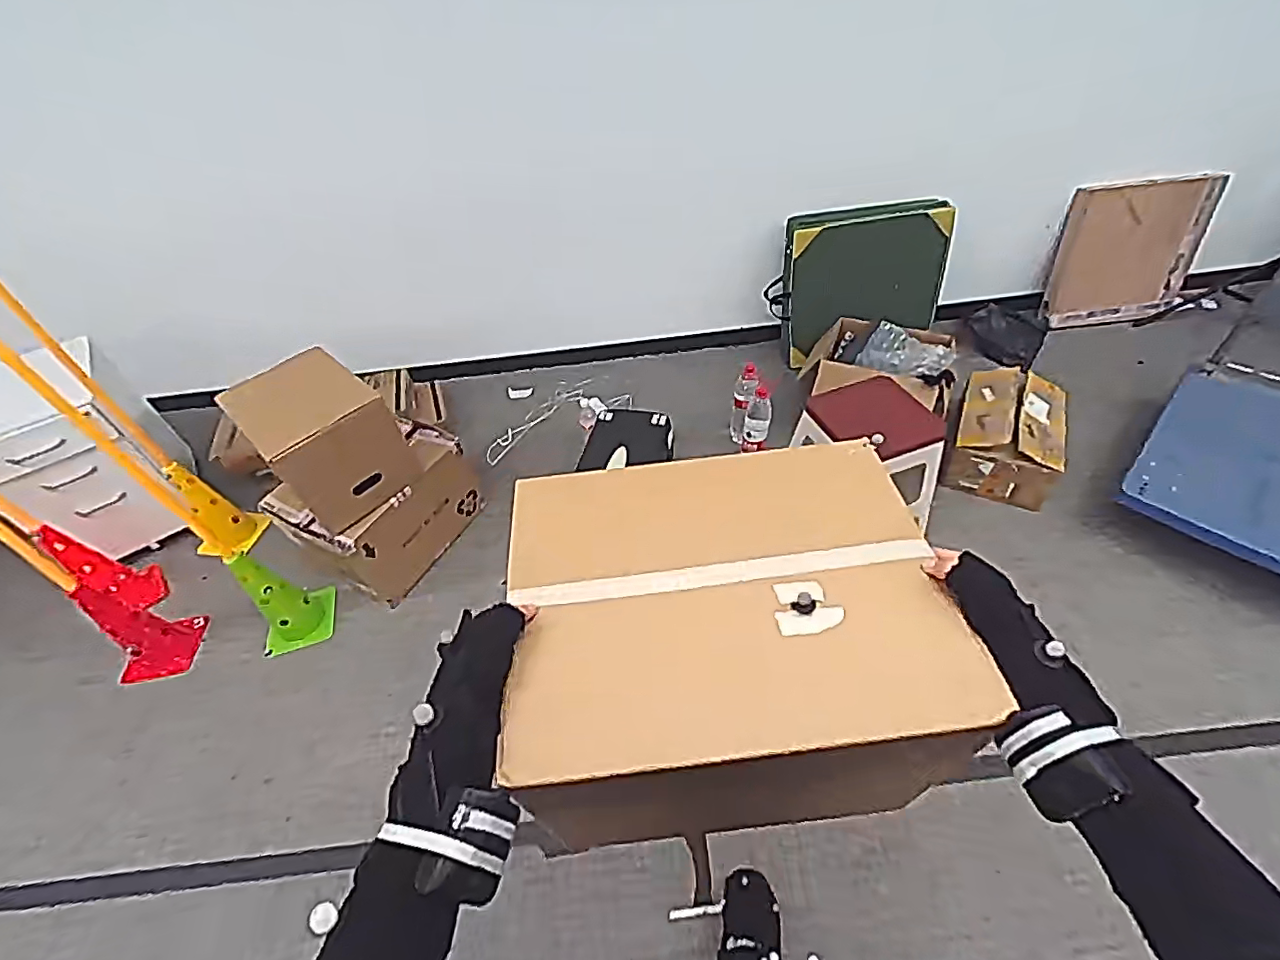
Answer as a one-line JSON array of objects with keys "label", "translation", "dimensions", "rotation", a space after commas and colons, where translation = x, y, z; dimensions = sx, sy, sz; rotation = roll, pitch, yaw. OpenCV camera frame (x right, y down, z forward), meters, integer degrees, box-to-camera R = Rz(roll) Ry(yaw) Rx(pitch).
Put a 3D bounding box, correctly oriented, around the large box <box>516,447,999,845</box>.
[{"label": "large box", "translation": [0.089, 0.198, 0.639], "dimensions": [0.408, 0.320, 0.320], "rotation": [-7, 48, -1]}]
